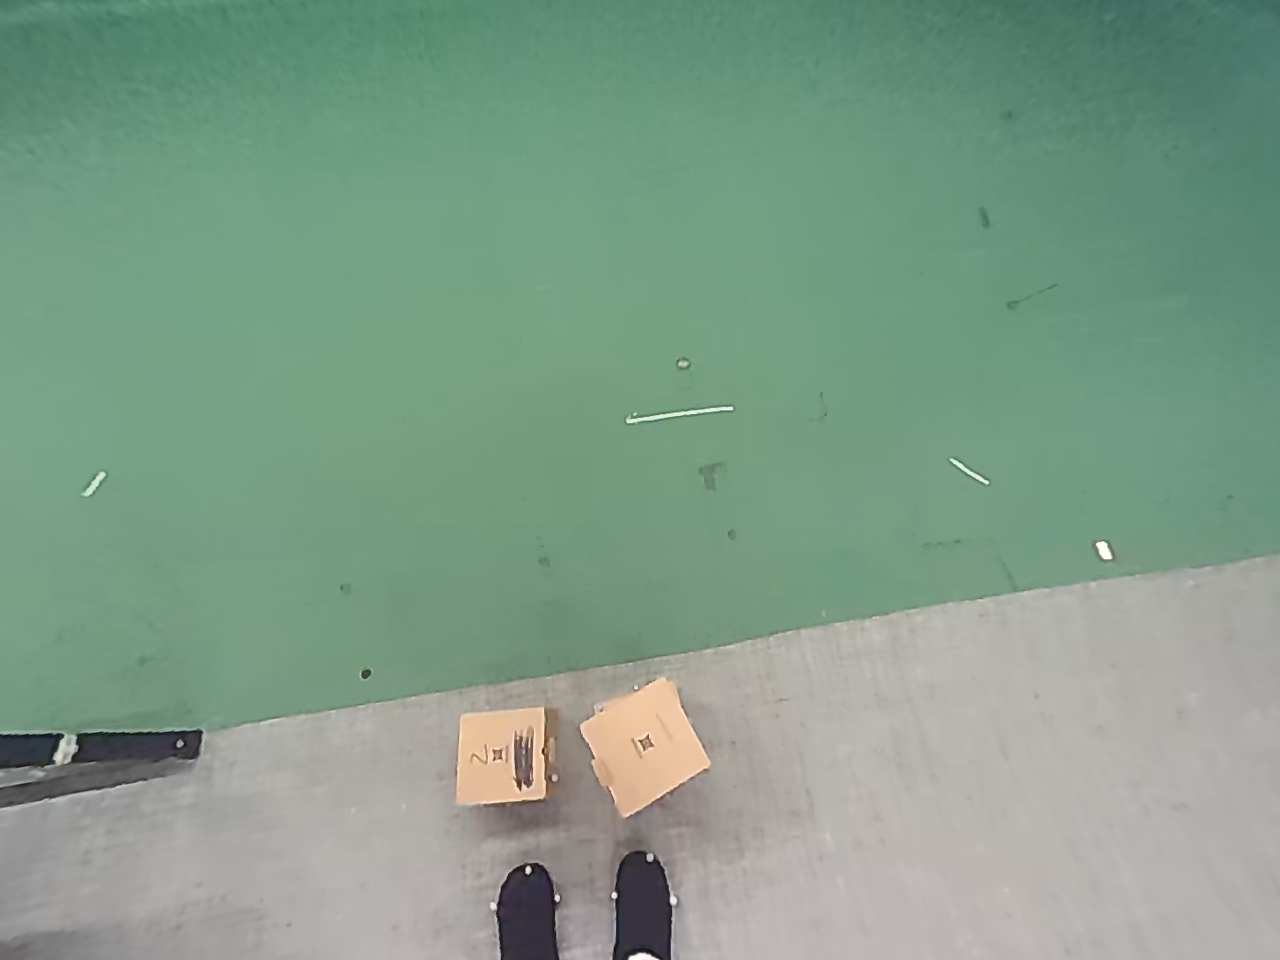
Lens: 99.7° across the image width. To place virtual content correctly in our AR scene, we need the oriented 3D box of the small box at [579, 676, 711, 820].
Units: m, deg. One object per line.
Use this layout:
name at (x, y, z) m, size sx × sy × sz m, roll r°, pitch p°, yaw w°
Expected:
small box at (0.007, 0.482, 0.989) m, size 0.179 × 0.176 × 0.168 m, roll -27°, pitch 71°, yaw -12°
